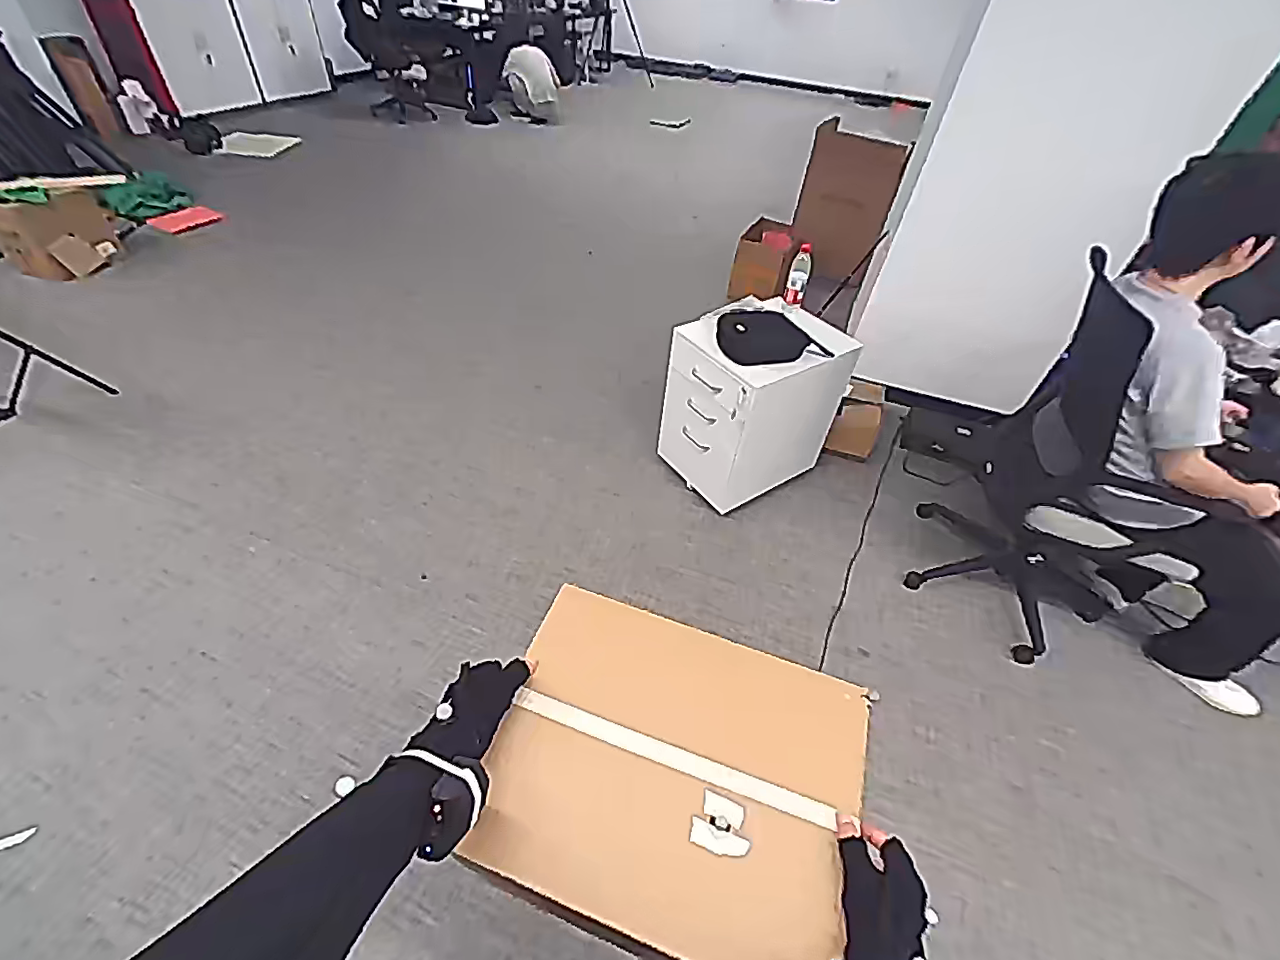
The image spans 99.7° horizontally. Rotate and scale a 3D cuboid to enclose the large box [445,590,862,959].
[{"bbox_3d":[0.027,0.406,0.713,0.408,0.320,0.320,17,50,11],"label":"large box"}]
